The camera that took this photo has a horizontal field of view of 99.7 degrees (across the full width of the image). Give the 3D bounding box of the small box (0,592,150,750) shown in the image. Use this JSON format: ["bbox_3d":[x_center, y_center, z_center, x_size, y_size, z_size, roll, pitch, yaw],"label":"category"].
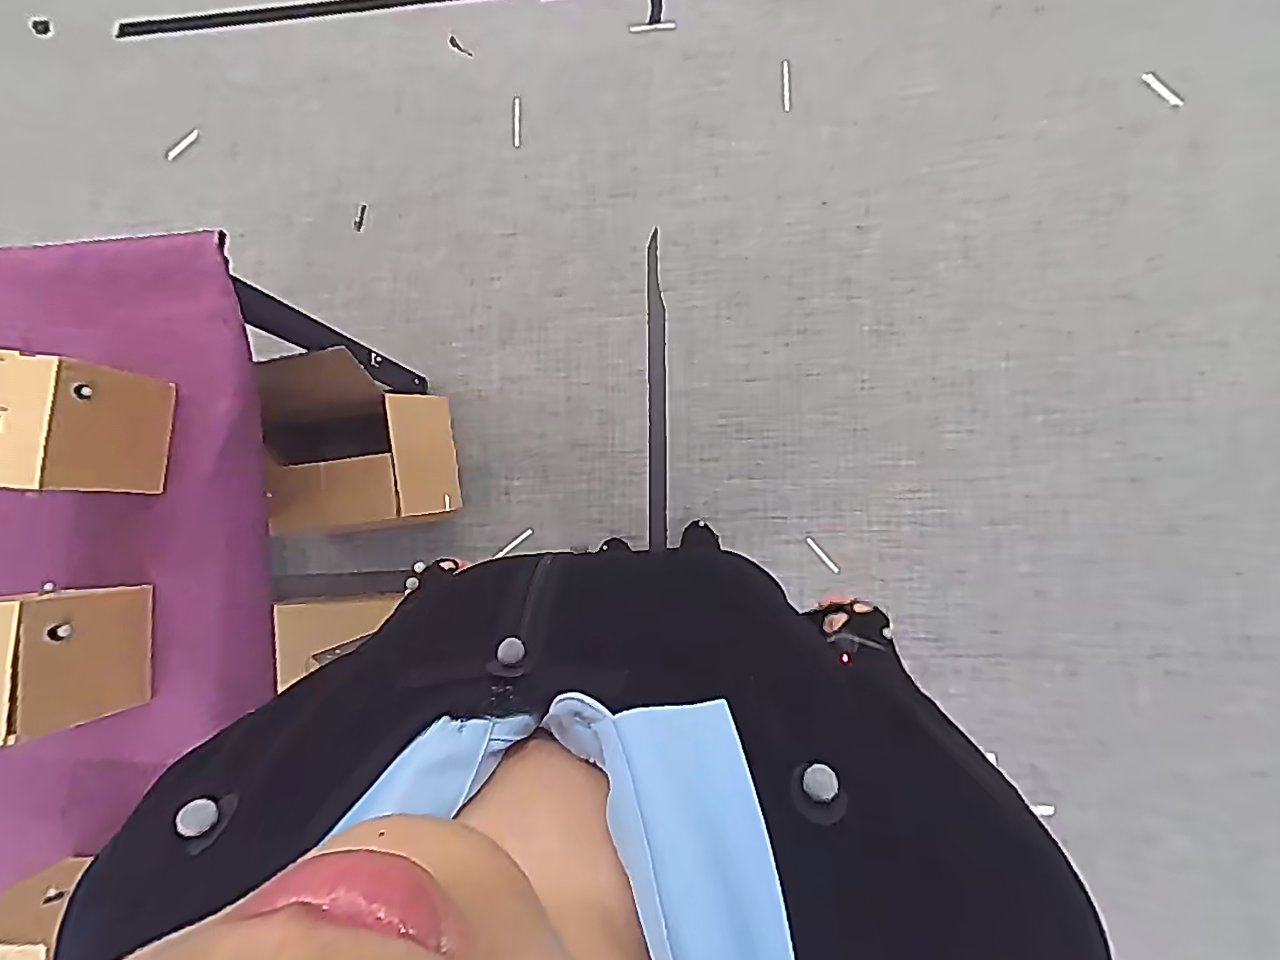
[{"bbox_3d":[-0.825,0.249,0.741,0.168,0.176,0.179,-4,85,7],"label":"small box"}]

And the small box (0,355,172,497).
[{"bbox_3d":[-0.820,-0.069,0.767,0.168,0.176,0.179,3,85,5],"label":"small box"}]
